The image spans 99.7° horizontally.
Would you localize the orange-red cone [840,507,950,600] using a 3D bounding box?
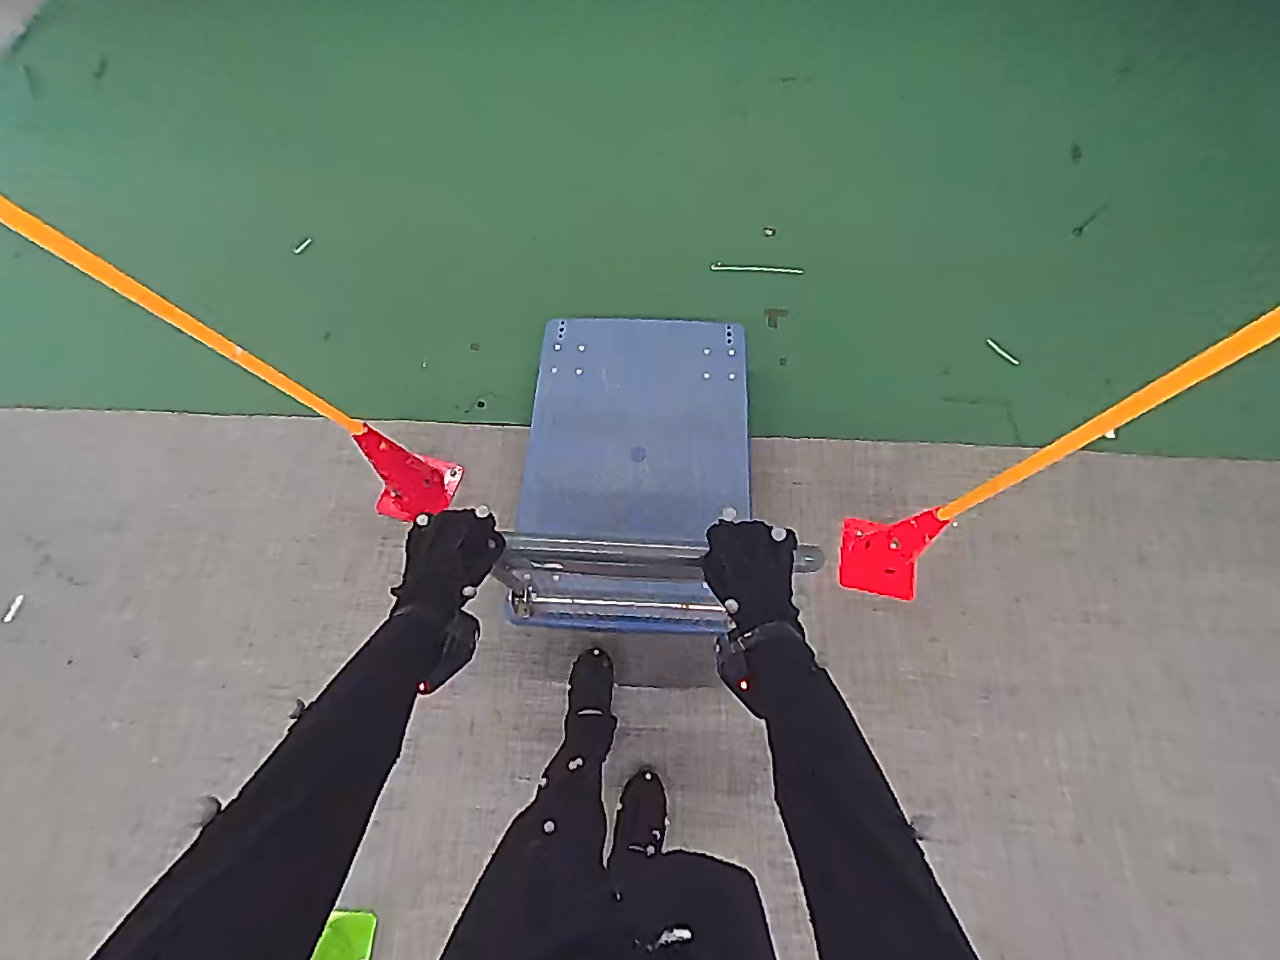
[{"bbox_3d":[0.637,0.143,1.288,0.198,0.360,0.199,13,69,7],"label":"orange-red cone"}]
